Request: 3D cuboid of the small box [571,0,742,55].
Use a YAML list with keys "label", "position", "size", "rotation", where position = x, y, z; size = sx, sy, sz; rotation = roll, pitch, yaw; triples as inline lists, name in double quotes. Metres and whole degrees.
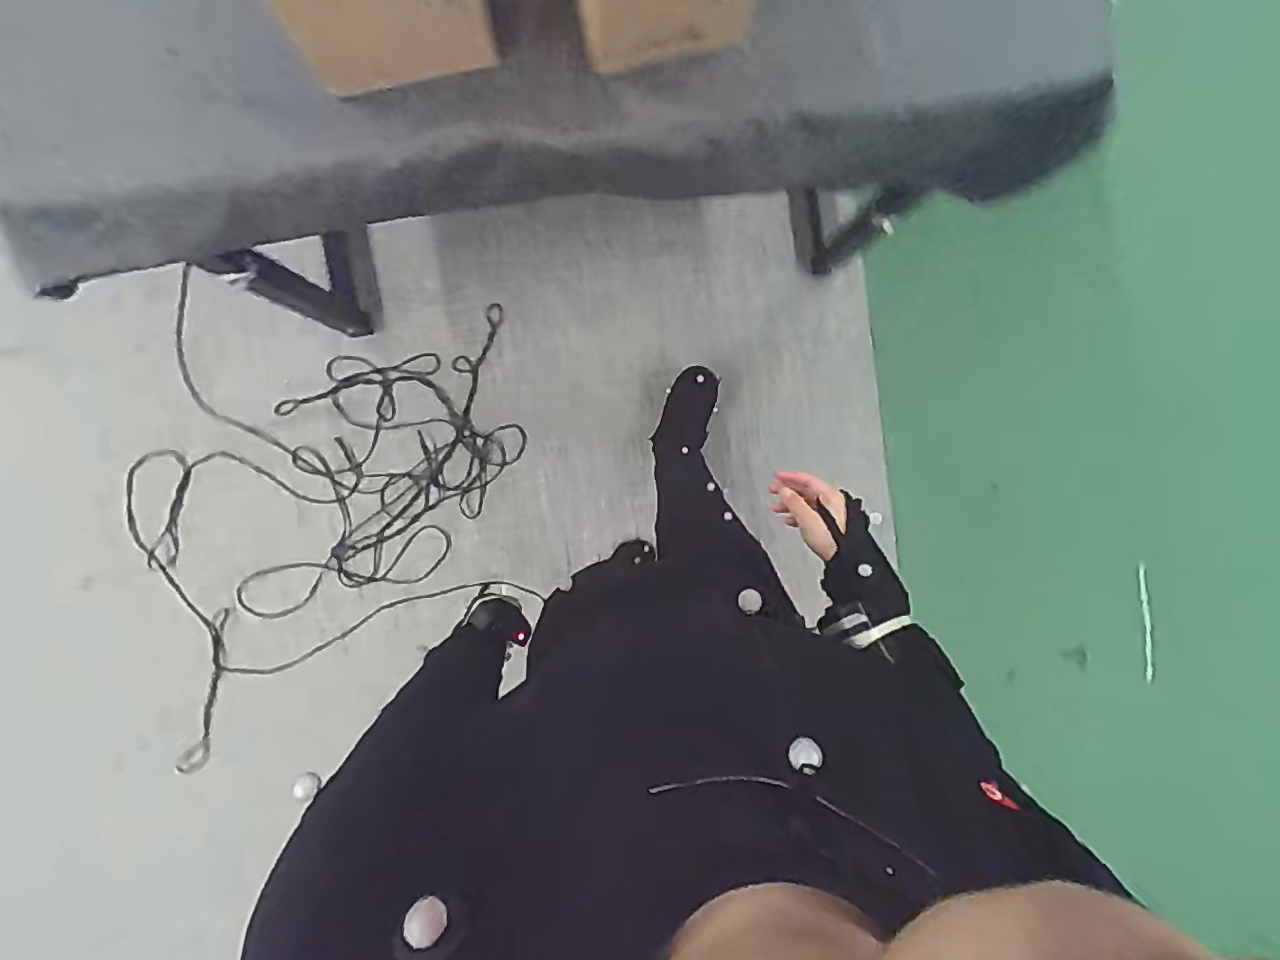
- label: "small box"
  position: [0.009, -0.535, 0.493]
  size: [0.168, 0.176, 0.179]
  rotation: [-17, 92, -4]
